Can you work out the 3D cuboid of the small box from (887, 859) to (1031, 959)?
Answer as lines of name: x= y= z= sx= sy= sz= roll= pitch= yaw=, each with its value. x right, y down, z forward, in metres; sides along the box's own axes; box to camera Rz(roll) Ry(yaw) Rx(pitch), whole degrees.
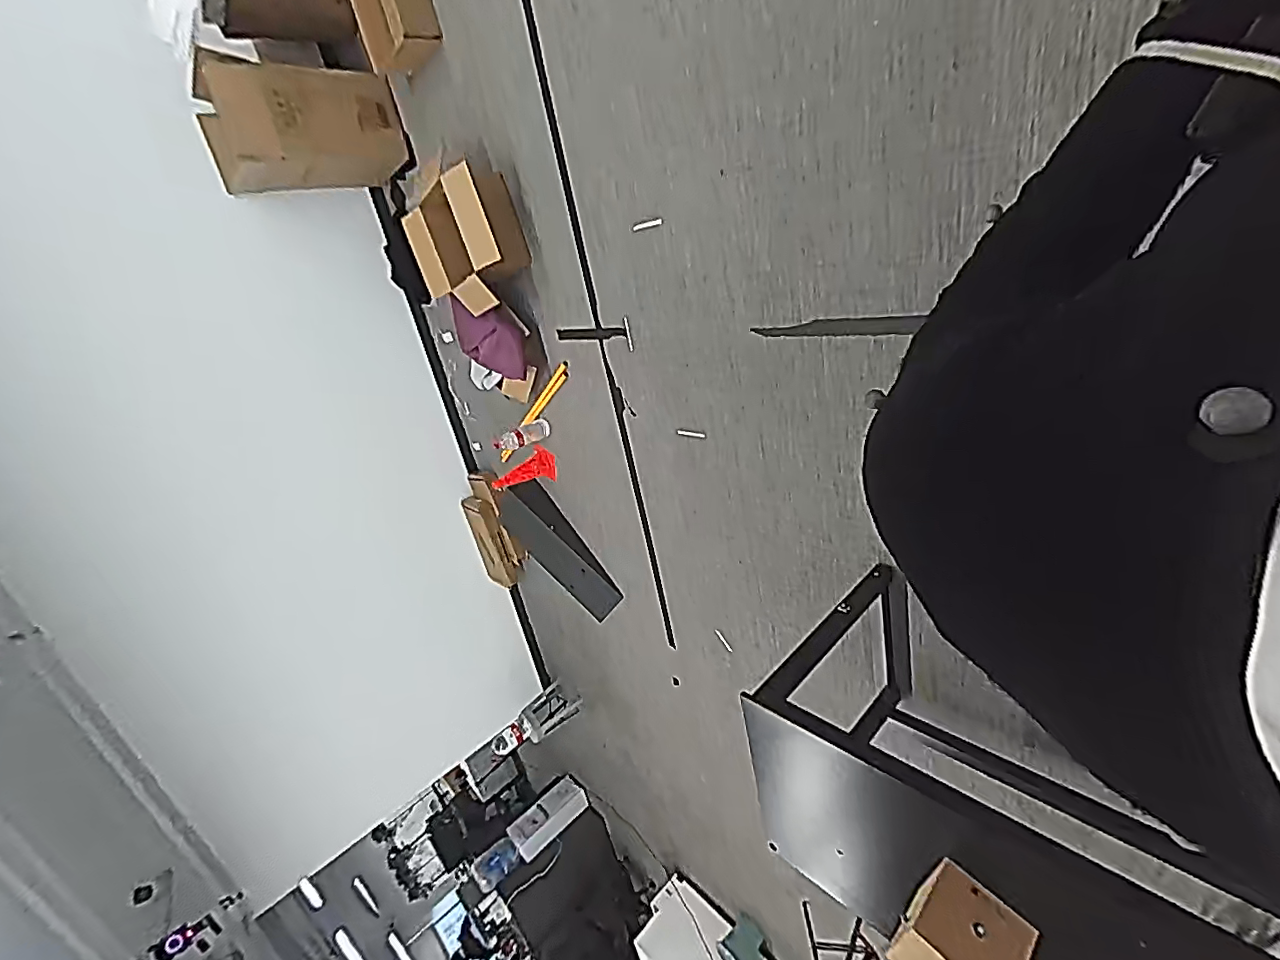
small box: x=0.611 y=0.880 z=1.036 sx=0.168 sy=0.176 sz=0.179 roll=32 pitch=137 yaw=36
